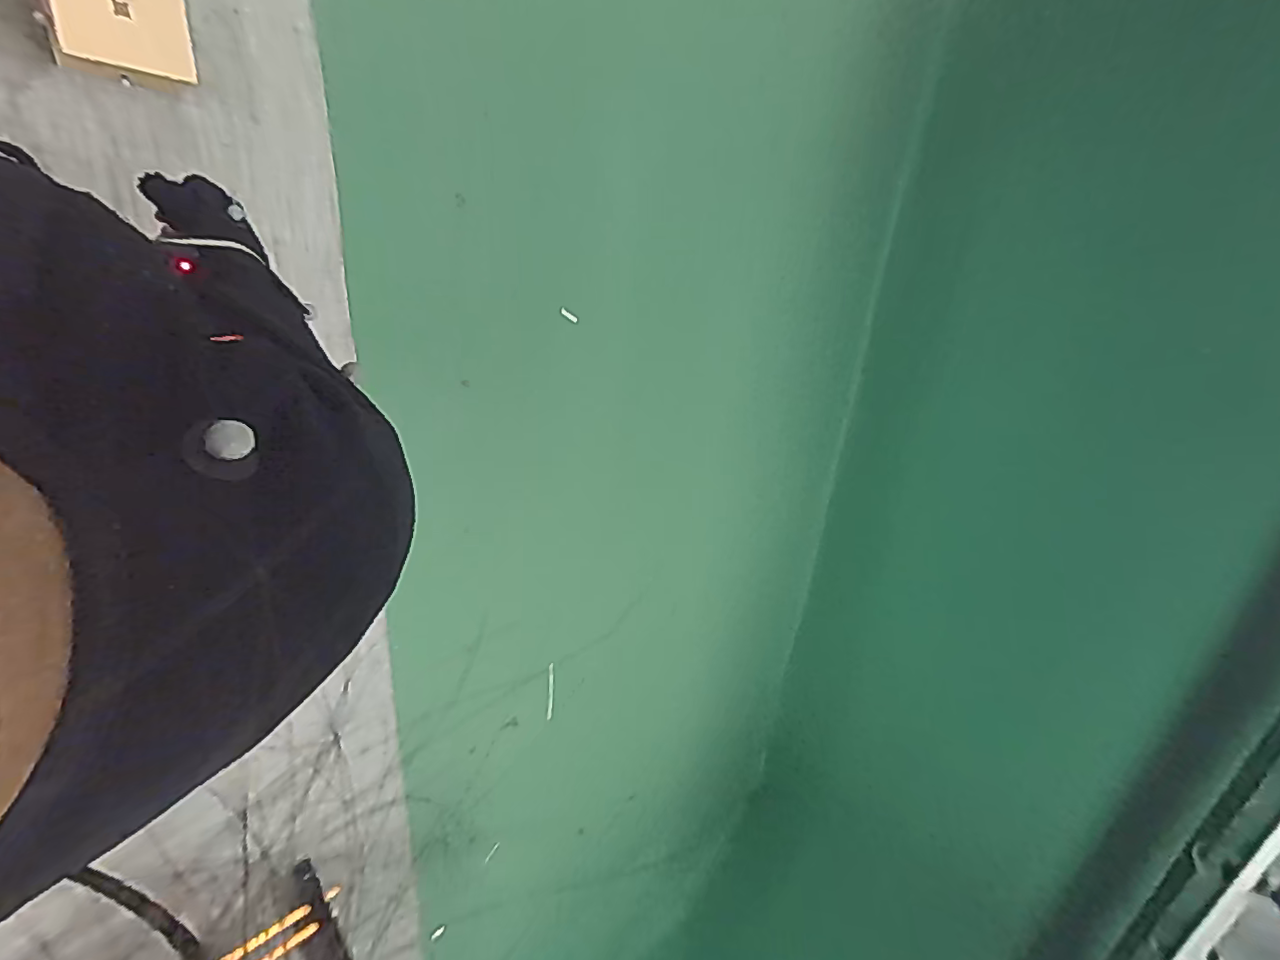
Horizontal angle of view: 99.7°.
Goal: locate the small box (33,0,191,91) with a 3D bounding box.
[{"bbox_3d":[-0.864,-0.762,0.879,0.168,0.176,0.179,-17,121,-44],"label":"small box"}]
